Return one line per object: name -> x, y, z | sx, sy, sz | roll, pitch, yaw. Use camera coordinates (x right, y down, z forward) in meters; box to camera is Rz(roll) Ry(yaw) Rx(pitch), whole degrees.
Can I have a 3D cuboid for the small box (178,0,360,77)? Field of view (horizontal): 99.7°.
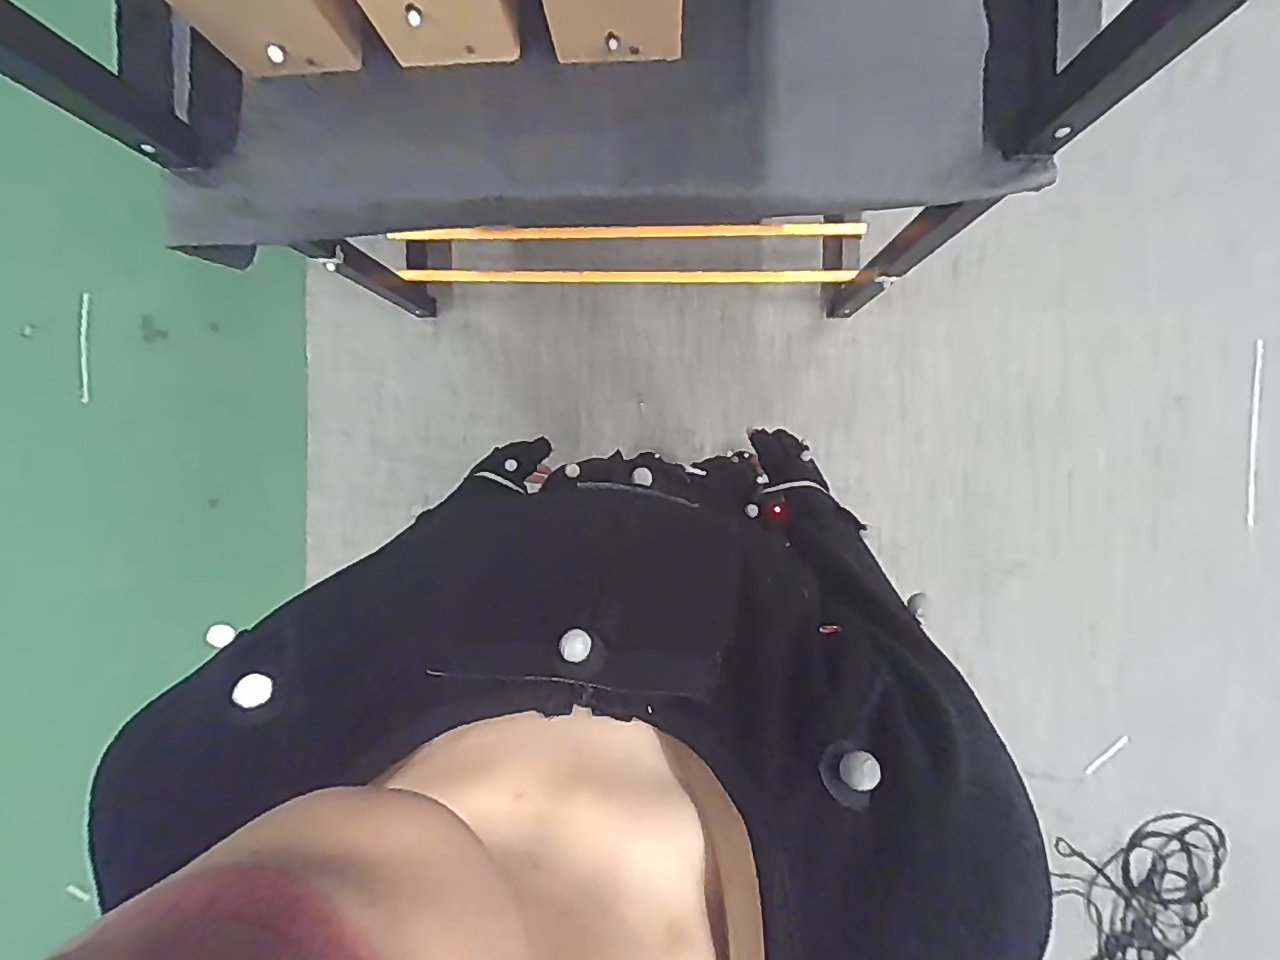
small box -> -0.469, -0.643, 0.661 | 0.168, 0.176, 0.179 | -2, 92, 3
